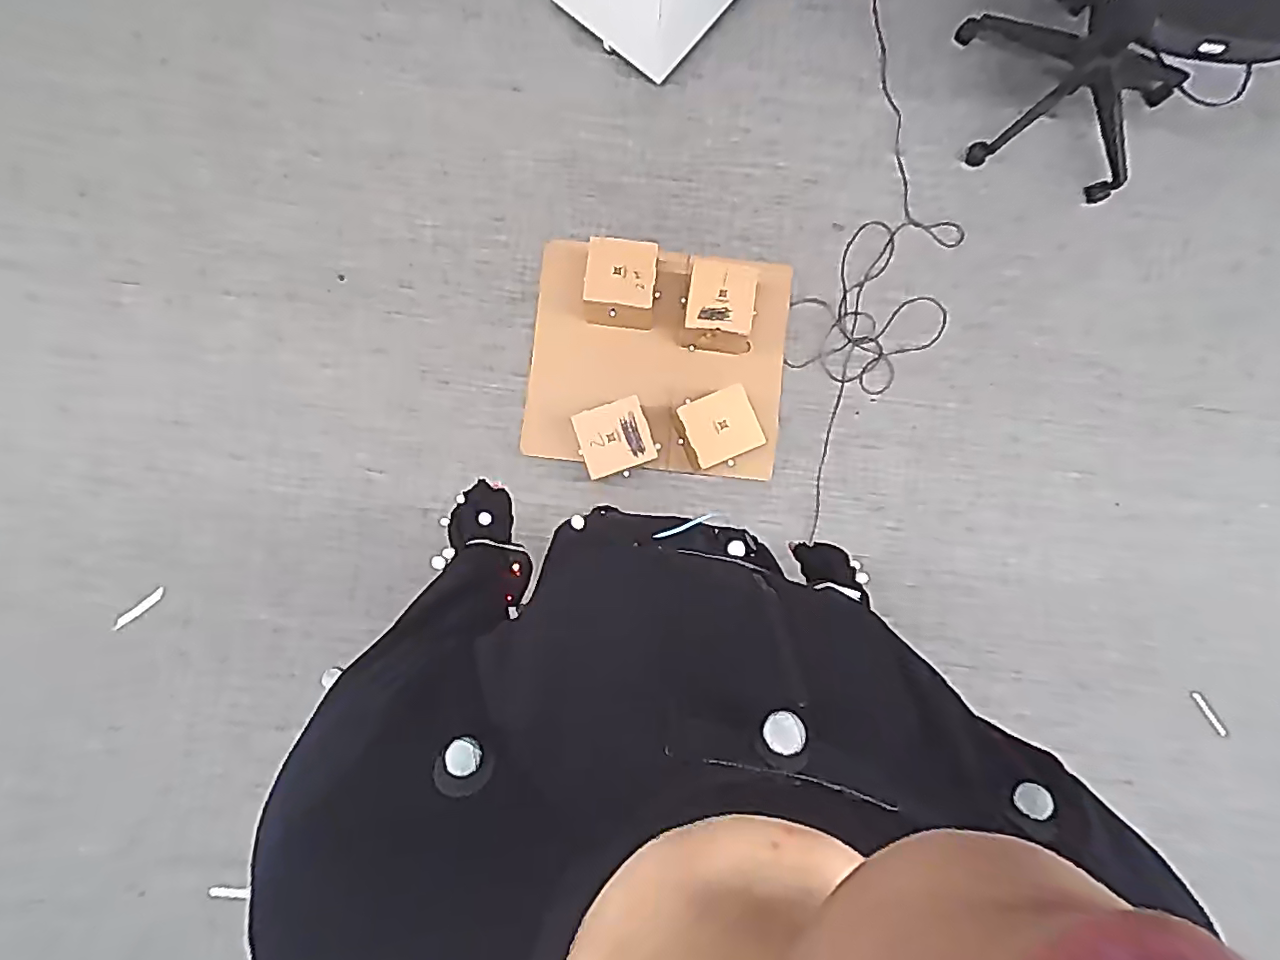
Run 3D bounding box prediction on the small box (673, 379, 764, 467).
[{"bbox_3d":[0.197,-0.142,1.414,0.179,0.176,0.168,-23,87,0],"label":"small box"}]
